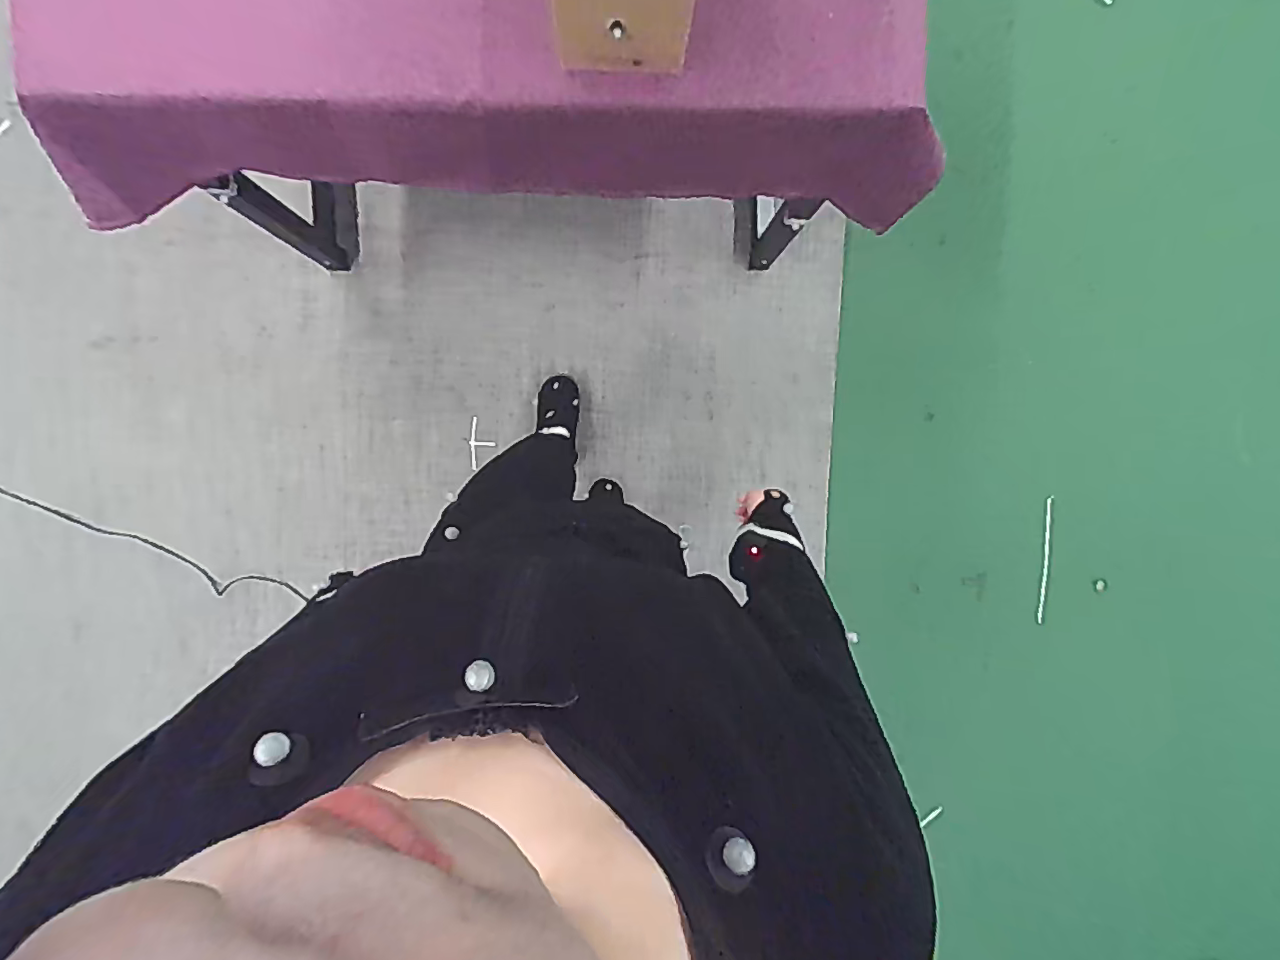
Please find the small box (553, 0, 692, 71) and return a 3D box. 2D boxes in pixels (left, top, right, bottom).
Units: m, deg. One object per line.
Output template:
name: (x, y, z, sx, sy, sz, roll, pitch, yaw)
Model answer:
small box: (-0.020, -0.634, 0.649, 0.168, 0.176, 0.179, 0, 93, -4)
